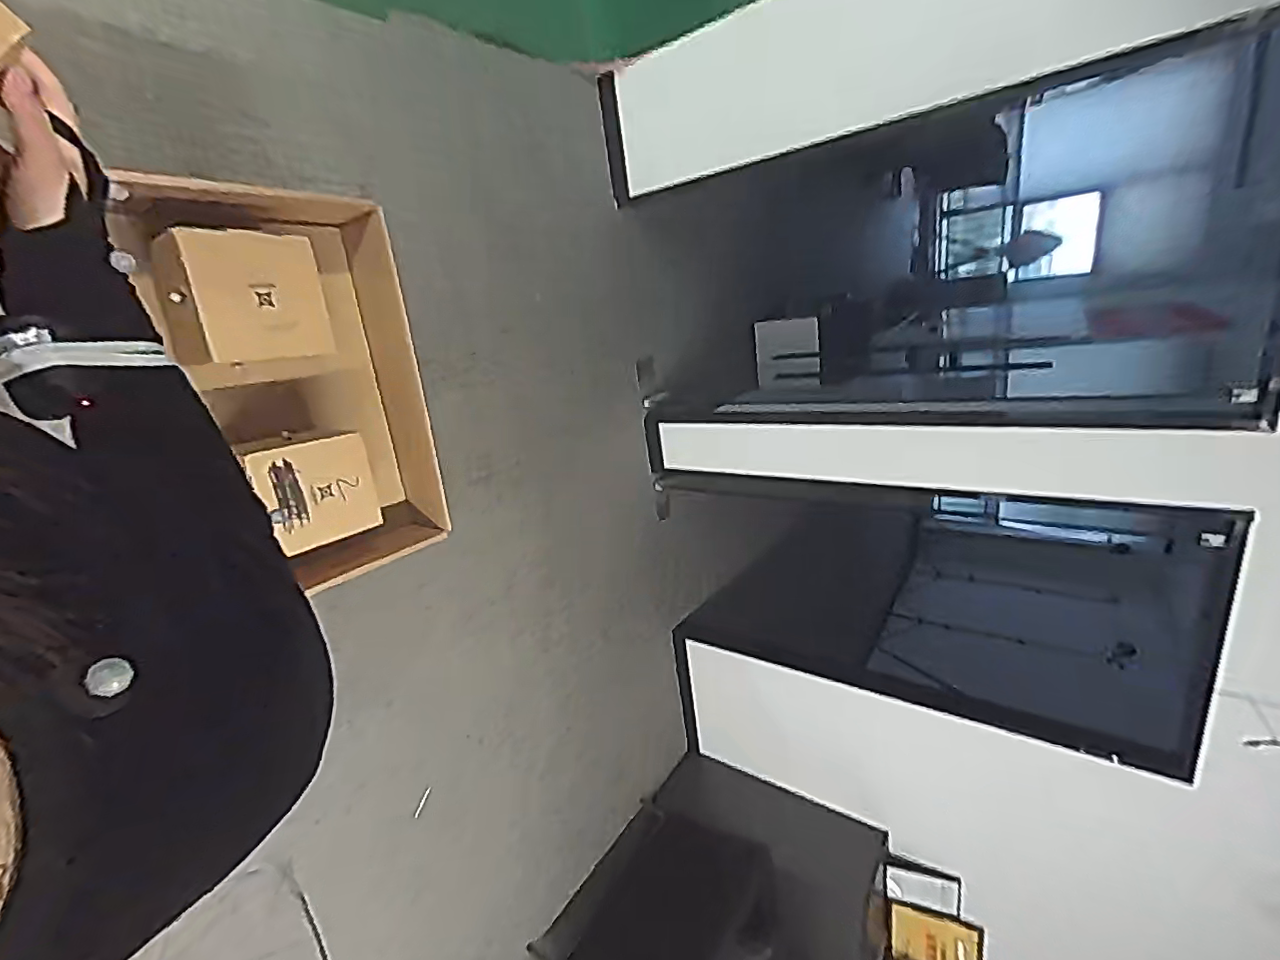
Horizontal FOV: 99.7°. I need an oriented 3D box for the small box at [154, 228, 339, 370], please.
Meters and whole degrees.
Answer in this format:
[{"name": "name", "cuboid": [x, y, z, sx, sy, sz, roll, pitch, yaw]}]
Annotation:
[{"name": "small box", "cuboid": [-0.597, -0.266, 0.822, 0.168, 0.176, 0.179, -23, 113, -49]}]
